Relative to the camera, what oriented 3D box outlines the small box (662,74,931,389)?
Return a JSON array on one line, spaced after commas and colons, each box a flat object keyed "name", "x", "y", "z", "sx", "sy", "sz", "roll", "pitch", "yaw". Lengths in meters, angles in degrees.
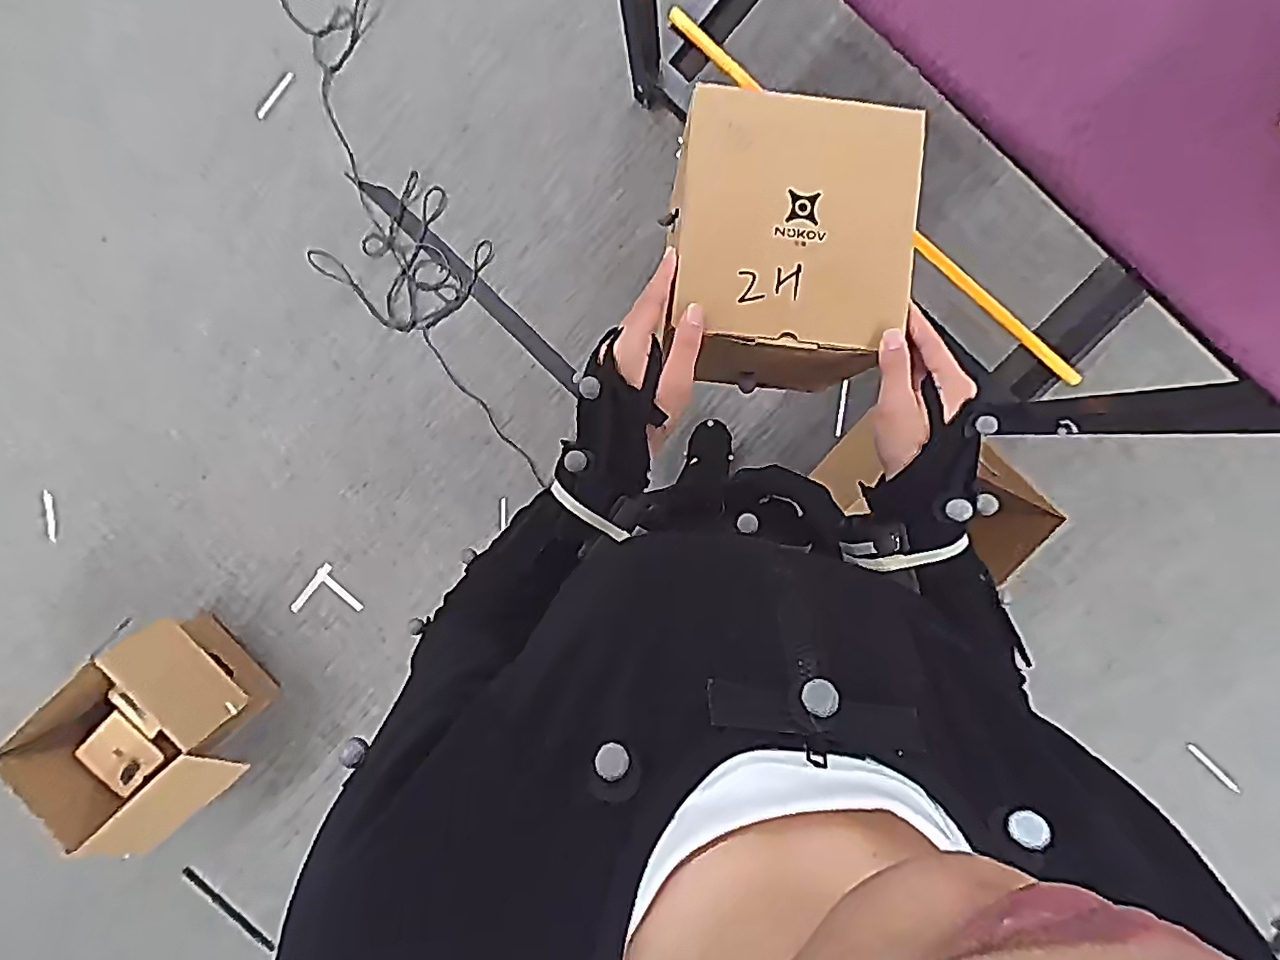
[{"name": "small box", "x": 0.112, "y": -0.185, "z": 0.454, "sx": 0.168, "sy": 0.176, "sz": 0.179, "roll": 6, "pitch": 90, "yaw": -2}]
